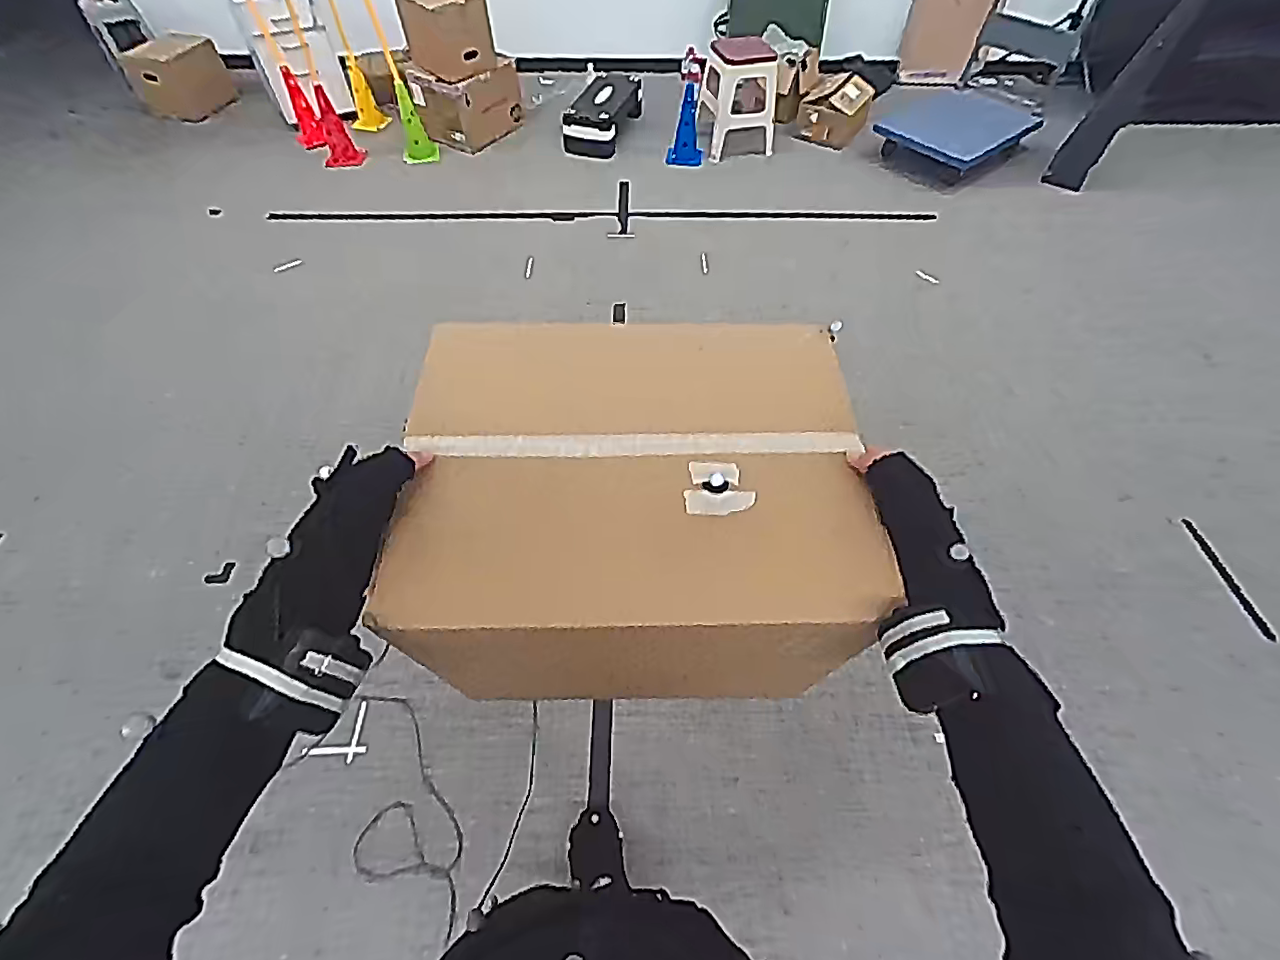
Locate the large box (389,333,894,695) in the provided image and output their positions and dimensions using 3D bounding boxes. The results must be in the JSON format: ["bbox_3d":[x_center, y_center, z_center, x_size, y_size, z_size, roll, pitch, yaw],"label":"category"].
[{"bbox_3d":[-0.005,0.052,0.621,0.408,0.320,0.320,0,59,-2],"label":"large box"}]
